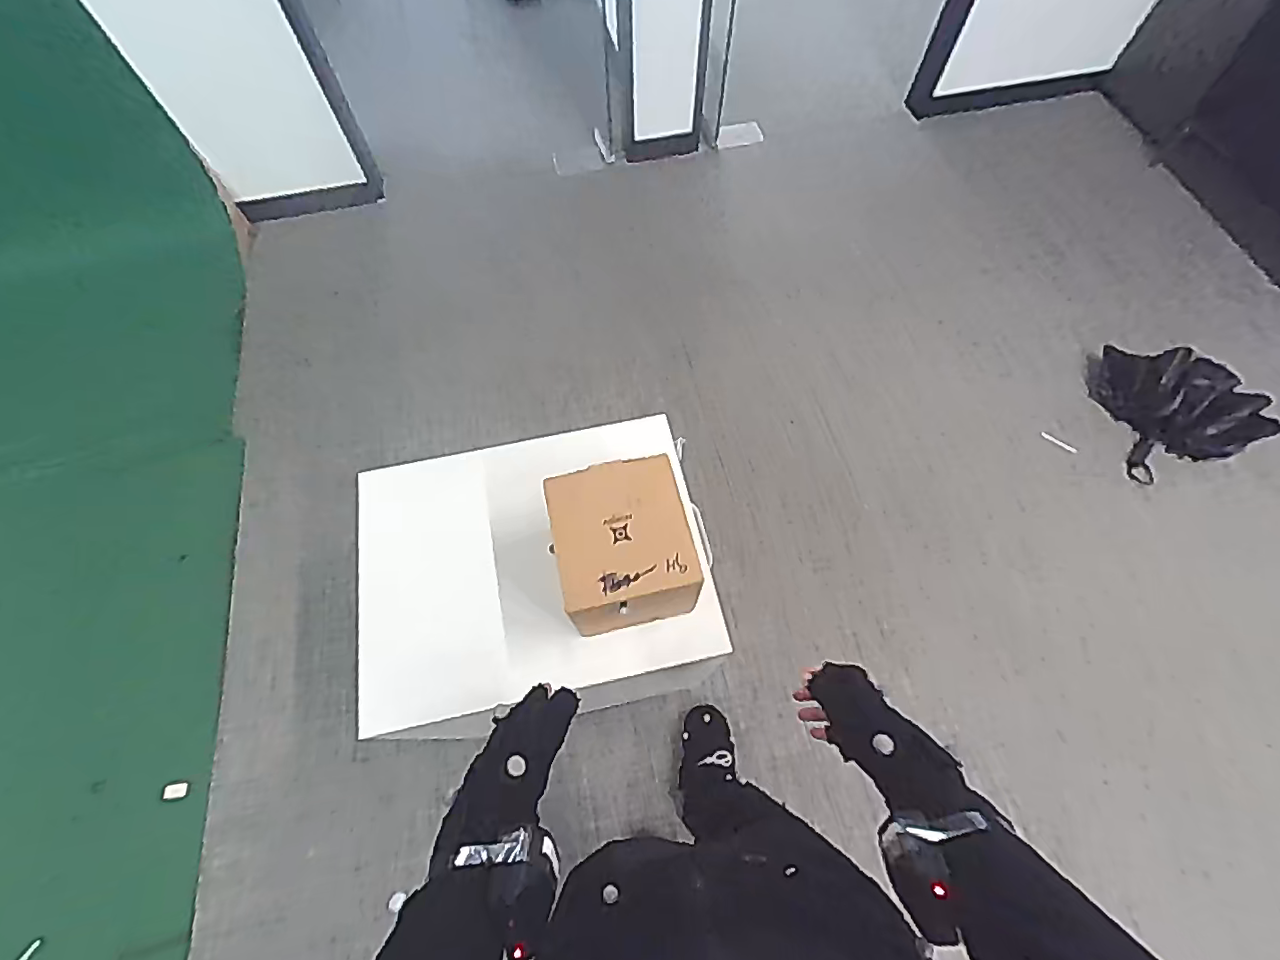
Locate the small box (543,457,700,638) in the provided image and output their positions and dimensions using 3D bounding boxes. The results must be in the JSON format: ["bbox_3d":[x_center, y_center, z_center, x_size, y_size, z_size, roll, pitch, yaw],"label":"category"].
[{"bbox_3d":[-0.026,0.096,0.728,0.168,0.176,0.179,-12,64,-5],"label":"small box"}]
